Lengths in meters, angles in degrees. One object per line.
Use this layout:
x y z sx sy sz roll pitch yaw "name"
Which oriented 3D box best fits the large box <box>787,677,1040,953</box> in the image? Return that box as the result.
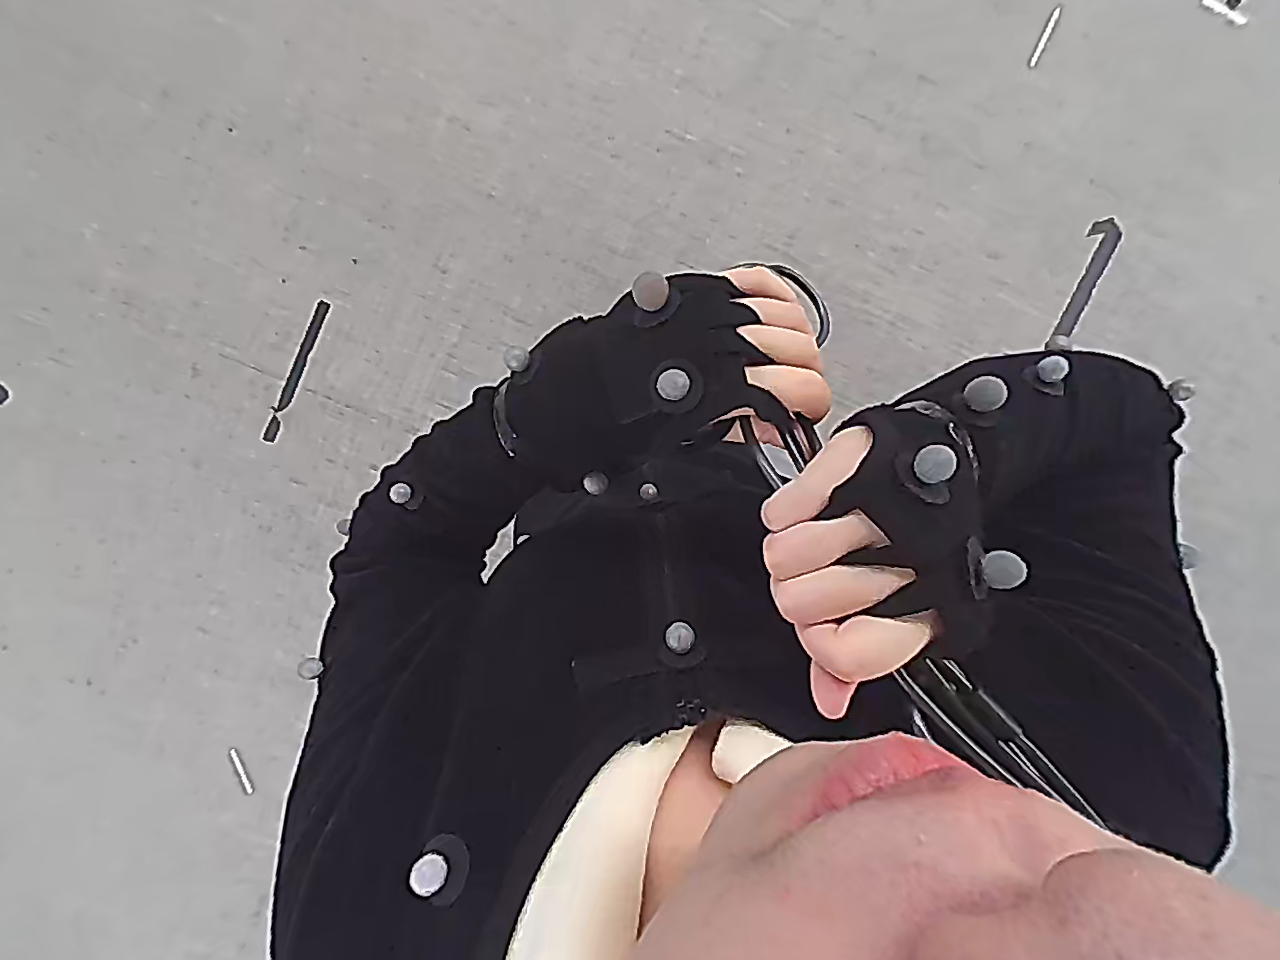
0.612 0.760 1.279 0.320 0.320 0.408 26 95 -5 "large box"
